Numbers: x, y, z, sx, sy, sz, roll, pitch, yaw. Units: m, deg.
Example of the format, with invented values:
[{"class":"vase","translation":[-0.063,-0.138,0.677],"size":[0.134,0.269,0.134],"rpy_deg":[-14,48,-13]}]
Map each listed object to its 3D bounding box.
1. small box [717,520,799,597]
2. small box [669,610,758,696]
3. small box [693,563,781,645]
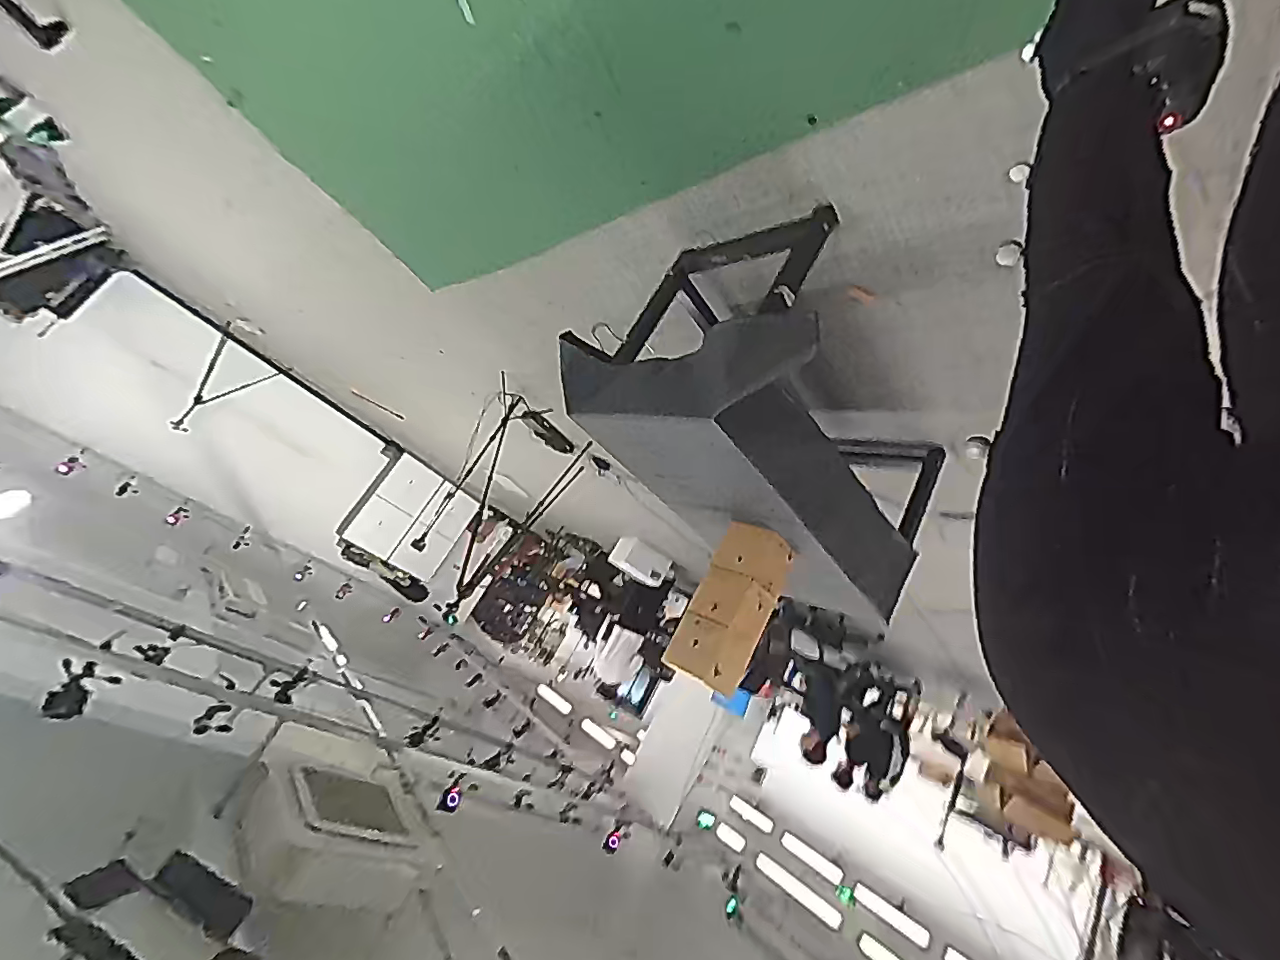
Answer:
[{"class":"small box","translation":[0.383,0.244,1.724],"size":[0.179,0.176,0.168],"rpy_deg":[10,154,51]},{"class":"small box","translation":[0.225,0.513,1.625],"size":[0.168,0.176,0.179],"rpy_deg":[10,154,49]},{"class":"small box","translation":[0.304,0.377,1.676],"size":[0.179,0.176,0.168],"rpy_deg":[9,153,50]}]
